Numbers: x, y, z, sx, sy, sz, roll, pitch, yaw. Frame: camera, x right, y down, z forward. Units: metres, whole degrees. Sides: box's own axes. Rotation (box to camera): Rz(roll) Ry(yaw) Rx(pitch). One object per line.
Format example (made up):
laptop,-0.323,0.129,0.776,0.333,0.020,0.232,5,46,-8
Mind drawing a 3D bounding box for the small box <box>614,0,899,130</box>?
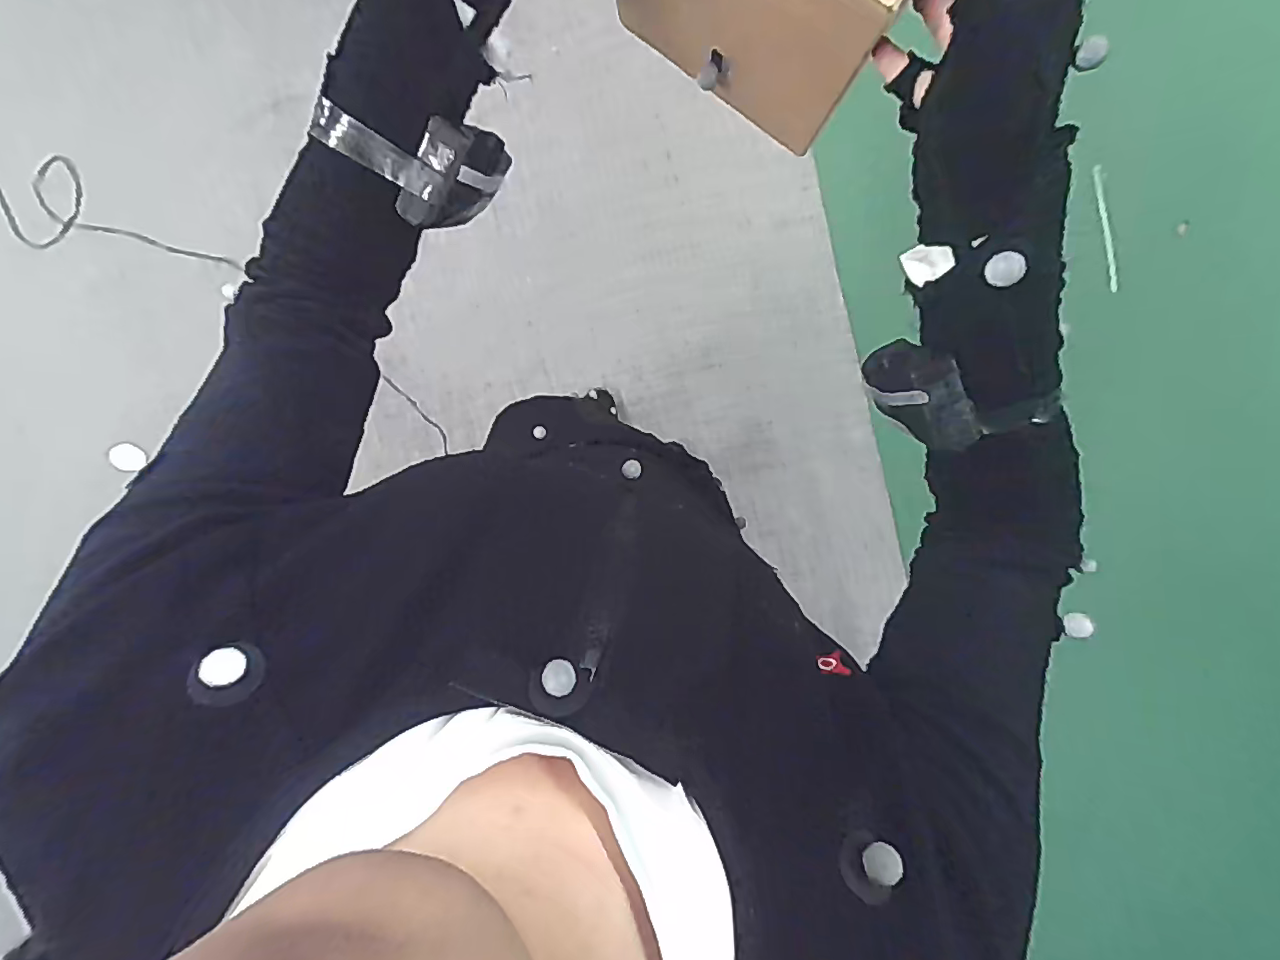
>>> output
small box,0.092,-0.349,0.316,0.179,0.176,0.168,34,98,-4
